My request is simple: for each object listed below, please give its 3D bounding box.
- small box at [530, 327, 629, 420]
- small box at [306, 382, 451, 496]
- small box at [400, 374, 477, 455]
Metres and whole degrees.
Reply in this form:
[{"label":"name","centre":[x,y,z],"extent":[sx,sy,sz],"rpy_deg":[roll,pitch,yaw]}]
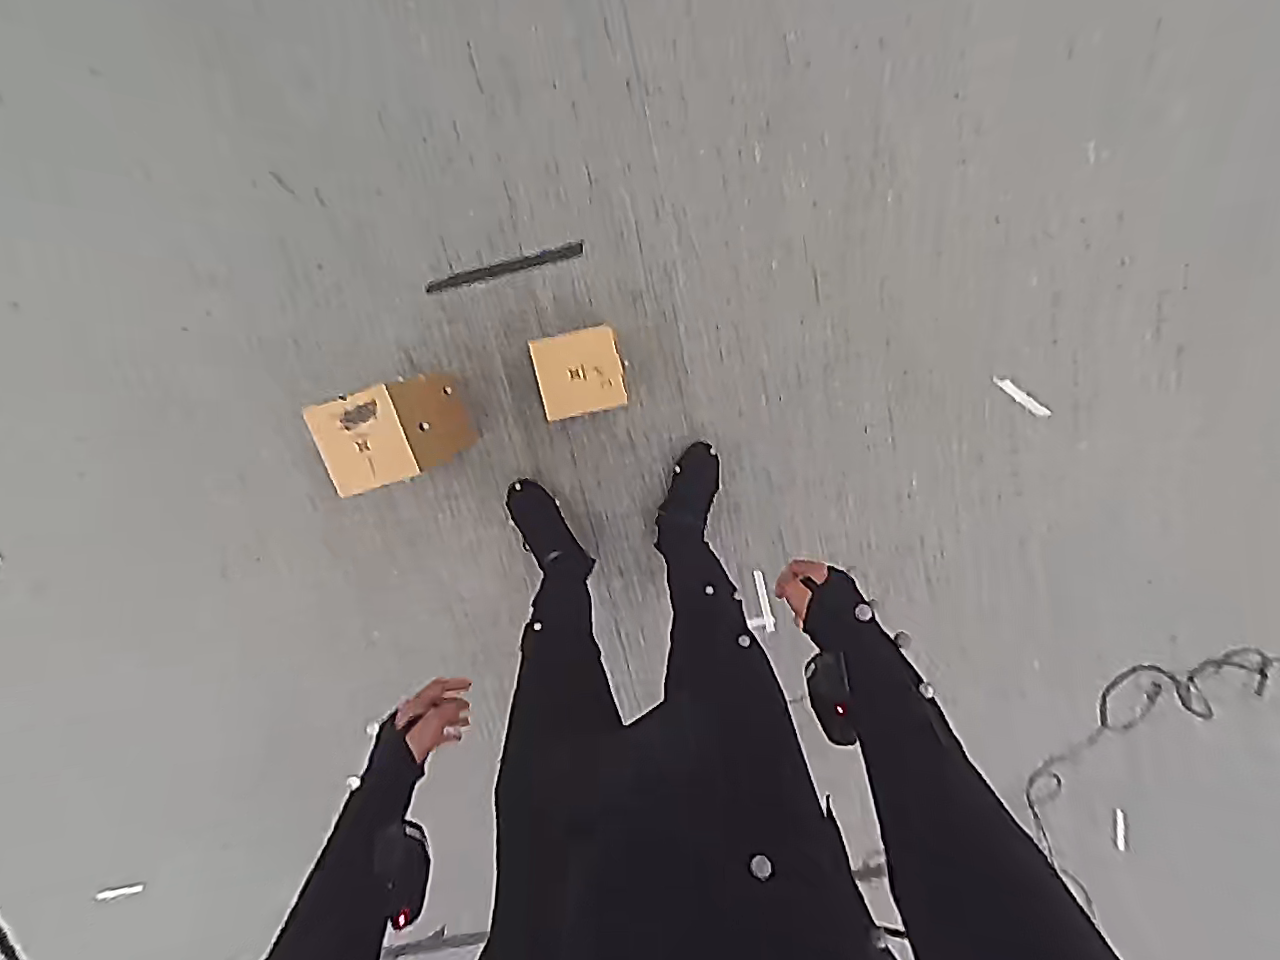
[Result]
[{"label":"small box","centre":[-0.124,-0.234,1.189],"extent":[0.179,0.176,0.168],"rpy_deg":[-11,103,2]},{"label":"small box","centre":[-0.498,-0.088,1.055],"extent":[0.168,0.176,0.179],"rpy_deg":[-16,103,5]},{"label":"small box","centre":[-0.491,-0.132,1.213],"extent":[0.168,0.176,0.179],"rpy_deg":[-18,103,5]}]
